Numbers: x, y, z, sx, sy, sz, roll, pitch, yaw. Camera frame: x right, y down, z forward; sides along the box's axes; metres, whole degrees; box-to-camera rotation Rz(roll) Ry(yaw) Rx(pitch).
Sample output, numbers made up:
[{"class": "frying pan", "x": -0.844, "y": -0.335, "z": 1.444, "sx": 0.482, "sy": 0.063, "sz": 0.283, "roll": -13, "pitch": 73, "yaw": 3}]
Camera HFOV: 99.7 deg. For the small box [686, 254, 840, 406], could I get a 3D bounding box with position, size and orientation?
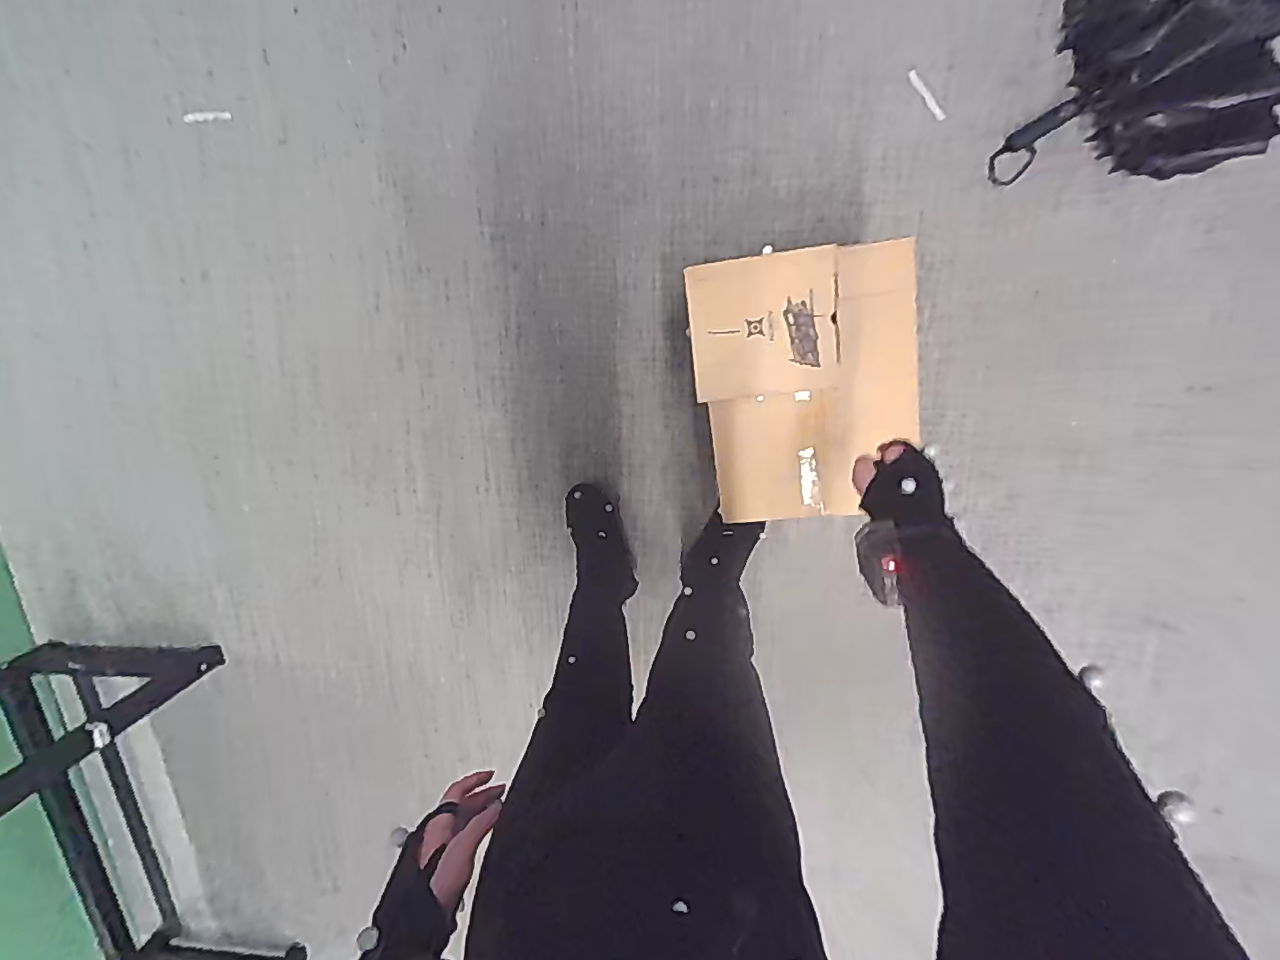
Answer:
[{"class": "small box", "x": 0.164, "y": -0.199, "z": 0.730, "sx": 0.179, "sy": 0.176, "sz": 0.168, "roll": -4, "pitch": 104, "yaw": 13}]
